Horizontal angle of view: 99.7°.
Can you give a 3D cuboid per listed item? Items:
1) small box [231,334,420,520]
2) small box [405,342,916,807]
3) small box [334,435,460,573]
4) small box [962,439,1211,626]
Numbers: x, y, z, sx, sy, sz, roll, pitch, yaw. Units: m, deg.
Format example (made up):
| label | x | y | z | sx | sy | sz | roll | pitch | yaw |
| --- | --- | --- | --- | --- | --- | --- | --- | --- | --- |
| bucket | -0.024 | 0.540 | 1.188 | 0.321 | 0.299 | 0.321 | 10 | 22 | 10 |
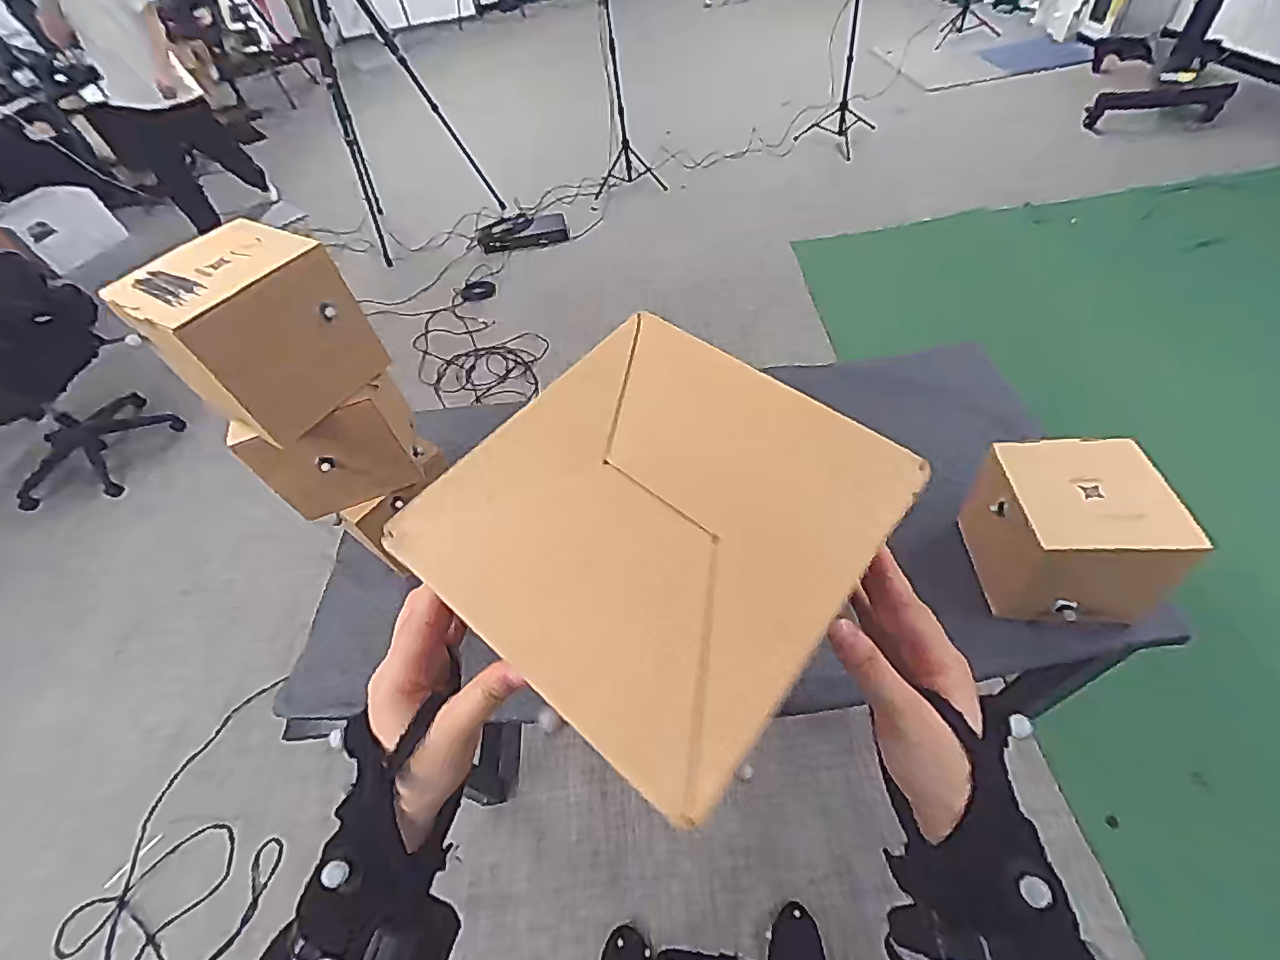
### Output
| label | x | y | z | sx | sy | sz | roll | pitch | yaw |
| --- | --- | --- | --- | --- | --- | --- | --- | --- | --- |
| small box | -0.434 | -0.073 | 0.776 | 0.179 | 0.176 | 0.168 | -22 | 52 | -8 |
| small box | 0.014 | 0.050 | 0.297 | 0.168 | 0.176 | 0.179 | 34 | 66 | 20 |
| small box | -0.413 | 0.026 | 0.906 | 0.179 | 0.176 | 0.168 | 27 | 60 | 27 |
| small box | 0.544 | 0.068 | 0.698 | 0.168 | 0.176 | 0.179 | -2 | 48 | 10 |
